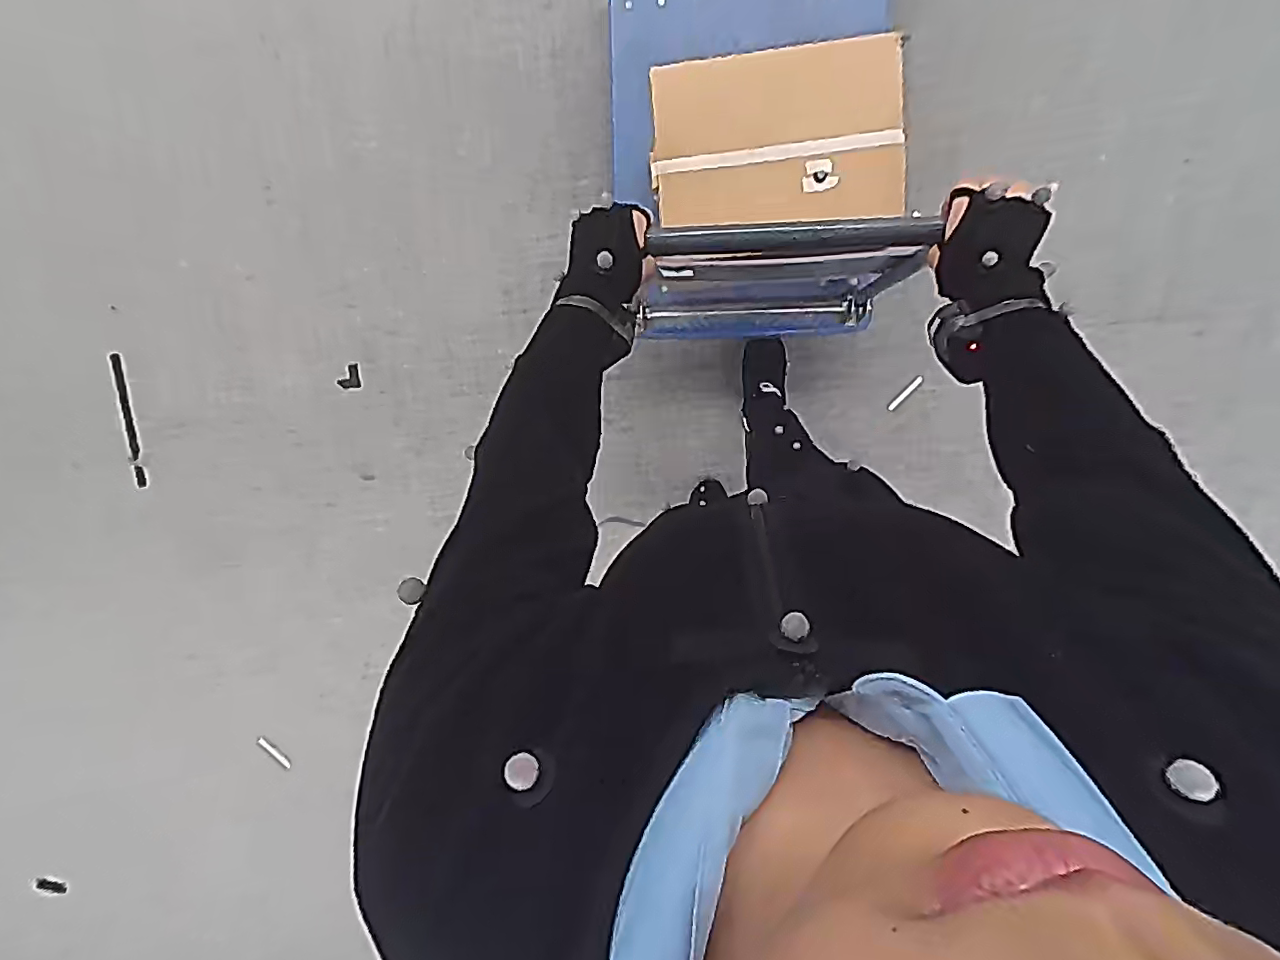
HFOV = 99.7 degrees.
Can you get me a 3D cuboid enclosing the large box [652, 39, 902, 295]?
[{"bbox_3d":[0.242,-0.566,1.056,0.408,0.320,0.320,-5,100,5],"label":"large box"}]
